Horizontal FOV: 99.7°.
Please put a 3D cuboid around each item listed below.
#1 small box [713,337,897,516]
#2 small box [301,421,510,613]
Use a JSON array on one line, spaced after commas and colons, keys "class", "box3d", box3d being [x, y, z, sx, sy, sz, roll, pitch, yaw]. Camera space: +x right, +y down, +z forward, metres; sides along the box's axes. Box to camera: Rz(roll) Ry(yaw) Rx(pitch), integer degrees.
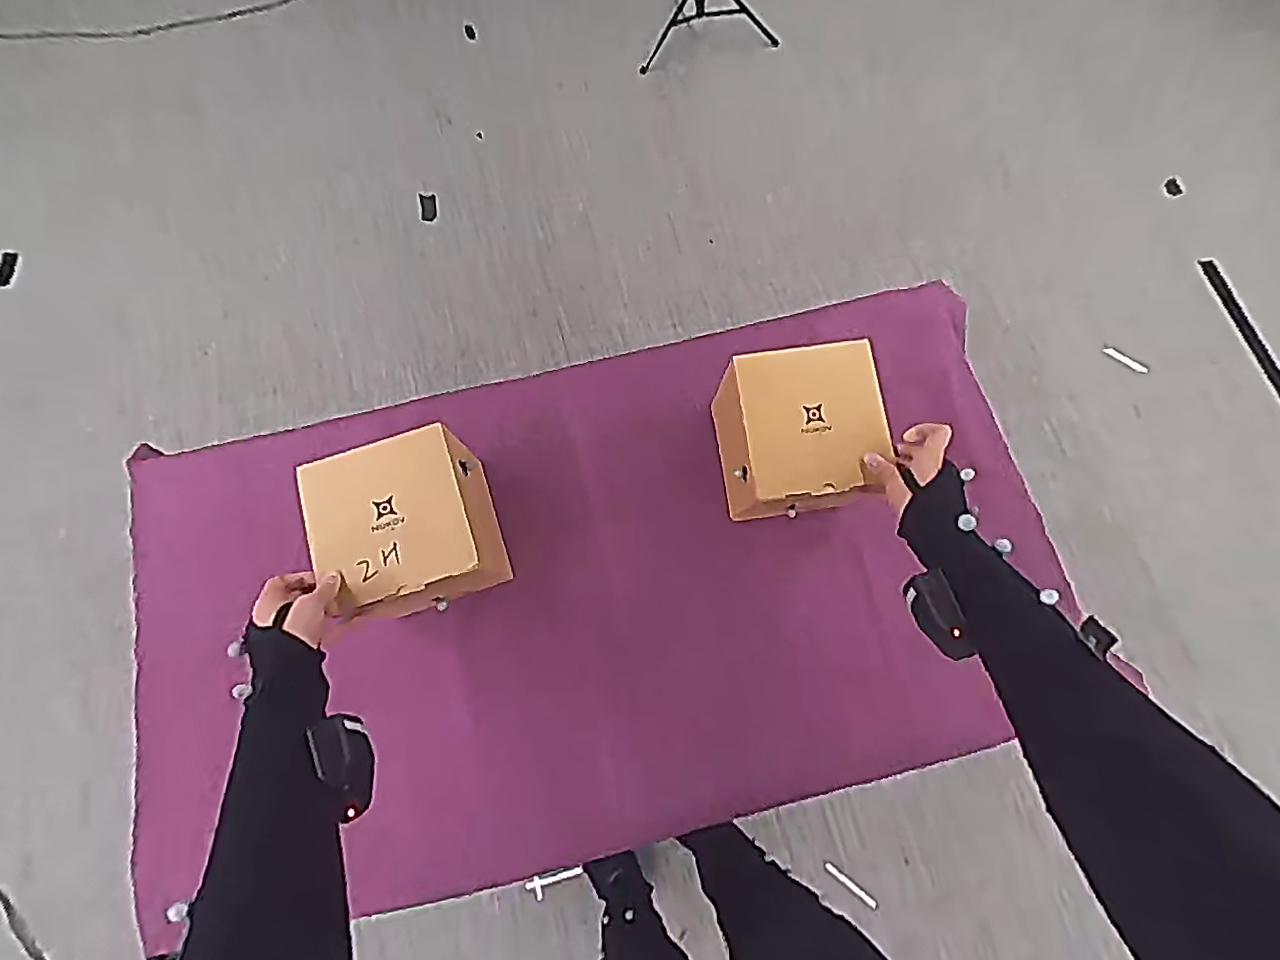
[{"class": "small box", "box3d": [0.196, -0.059, 0.697, 0.168, 0.176, 0.179, -8, 79, -2]}, {"class": "small box", "box3d": [-0.275, 0.055, 0.665, 0.168, 0.176, 0.179, -18, 76, -5]}]
